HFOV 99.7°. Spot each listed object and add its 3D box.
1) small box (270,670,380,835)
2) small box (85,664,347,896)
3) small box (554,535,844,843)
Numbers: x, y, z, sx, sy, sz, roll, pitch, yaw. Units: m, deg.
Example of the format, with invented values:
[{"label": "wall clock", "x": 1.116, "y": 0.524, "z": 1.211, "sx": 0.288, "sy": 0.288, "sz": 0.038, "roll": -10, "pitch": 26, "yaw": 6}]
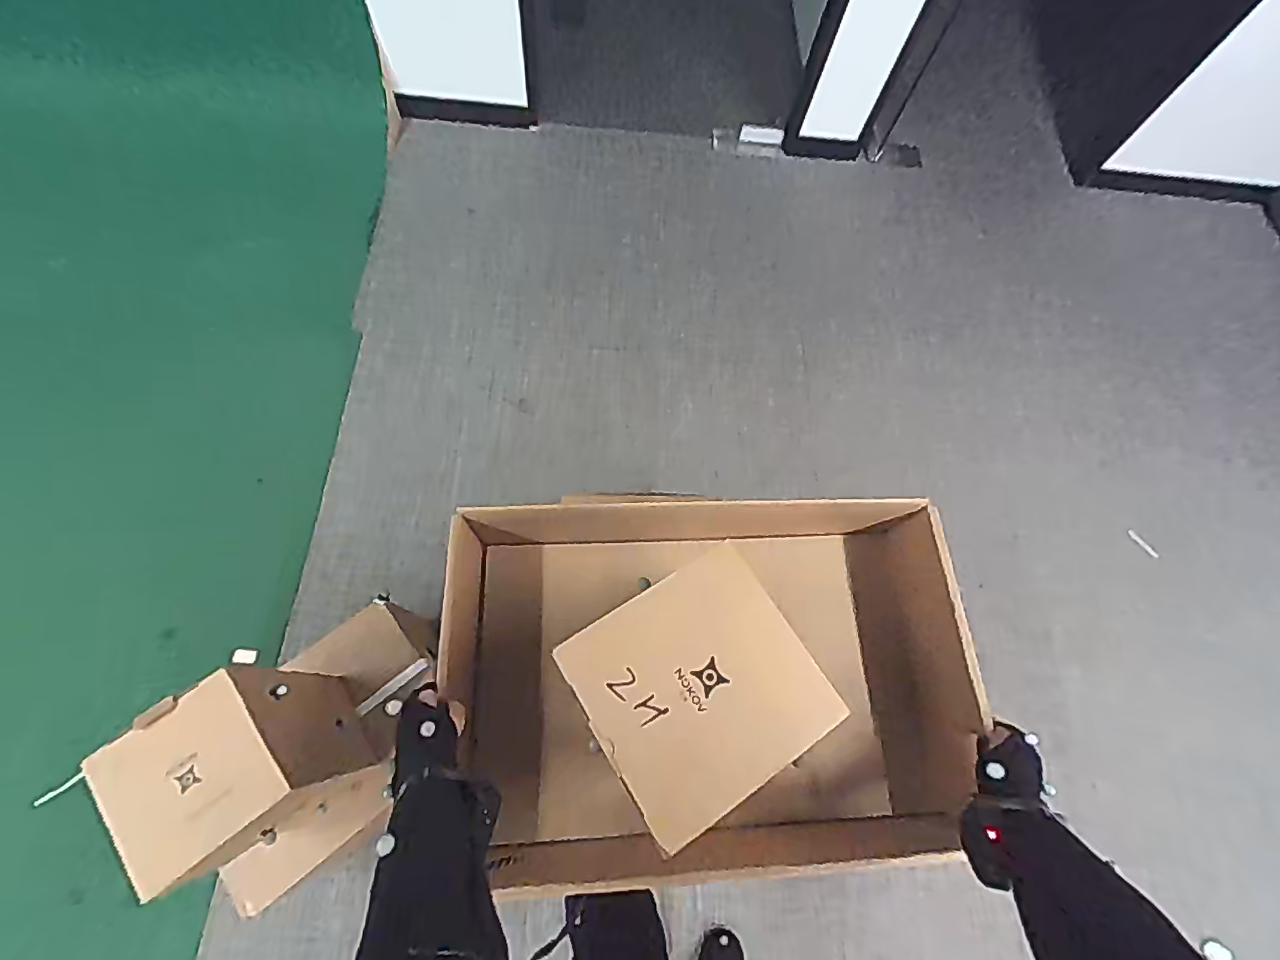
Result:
[{"label": "small box", "x": -0.536, "y": 0.420, "z": 0.830, "sx": 0.168, "sy": 0.176, "sz": 0.179, "roll": -32, "pitch": 75, "yaw": -17}, {"label": "small box", "x": -0.513, "y": 0.359, "z": 0.681, "sx": 0.168, "sy": 0.176, "sz": 0.179, "roll": -35, "pitch": 75, "yaw": -17}, {"label": "small box", "x": 0.040, "y": 0.178, "z": 0.493, "sx": 0.179, "sy": 0.176, "sz": 0.168, "roll": -30, "pitch": 72, "yaw": -13}]
